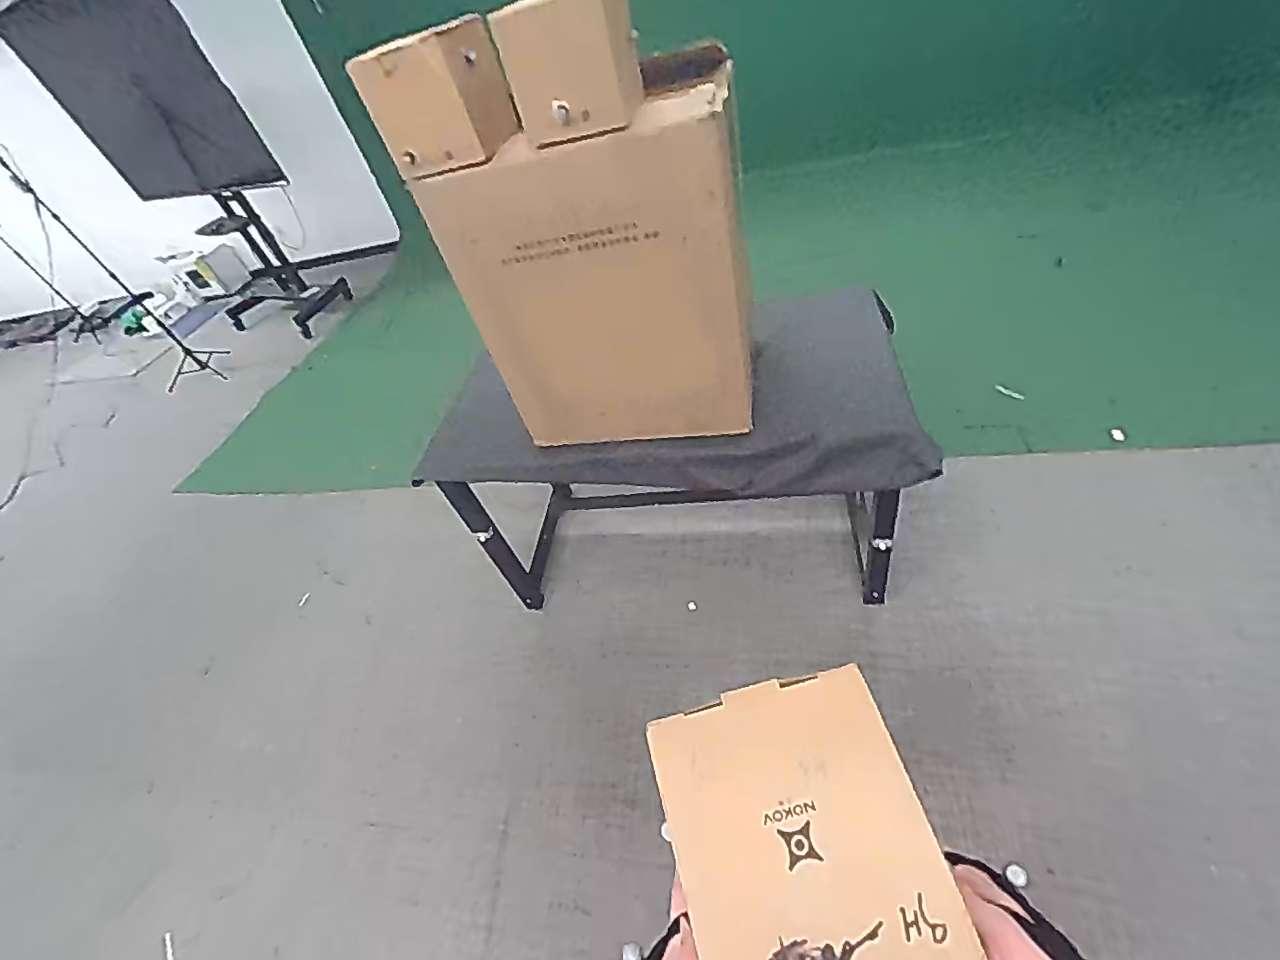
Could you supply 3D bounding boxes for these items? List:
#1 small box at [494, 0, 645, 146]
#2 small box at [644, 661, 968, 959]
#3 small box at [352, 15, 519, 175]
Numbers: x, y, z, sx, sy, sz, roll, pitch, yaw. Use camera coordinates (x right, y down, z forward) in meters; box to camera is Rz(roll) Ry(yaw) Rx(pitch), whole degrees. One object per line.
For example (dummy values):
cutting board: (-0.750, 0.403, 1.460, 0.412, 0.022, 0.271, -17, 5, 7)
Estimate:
small box: (-0.095, -0.648, 0.840, 0.168, 0.176, 0.179, -3, 48, 16)
small box: (0.109, 0.266, 0.430, 0.168, 0.176, 0.179, -16, 60, 1)
small box: (-0.326, -0.634, 0.905, 0.168, 0.176, 0.179, -2, 46, 18)
